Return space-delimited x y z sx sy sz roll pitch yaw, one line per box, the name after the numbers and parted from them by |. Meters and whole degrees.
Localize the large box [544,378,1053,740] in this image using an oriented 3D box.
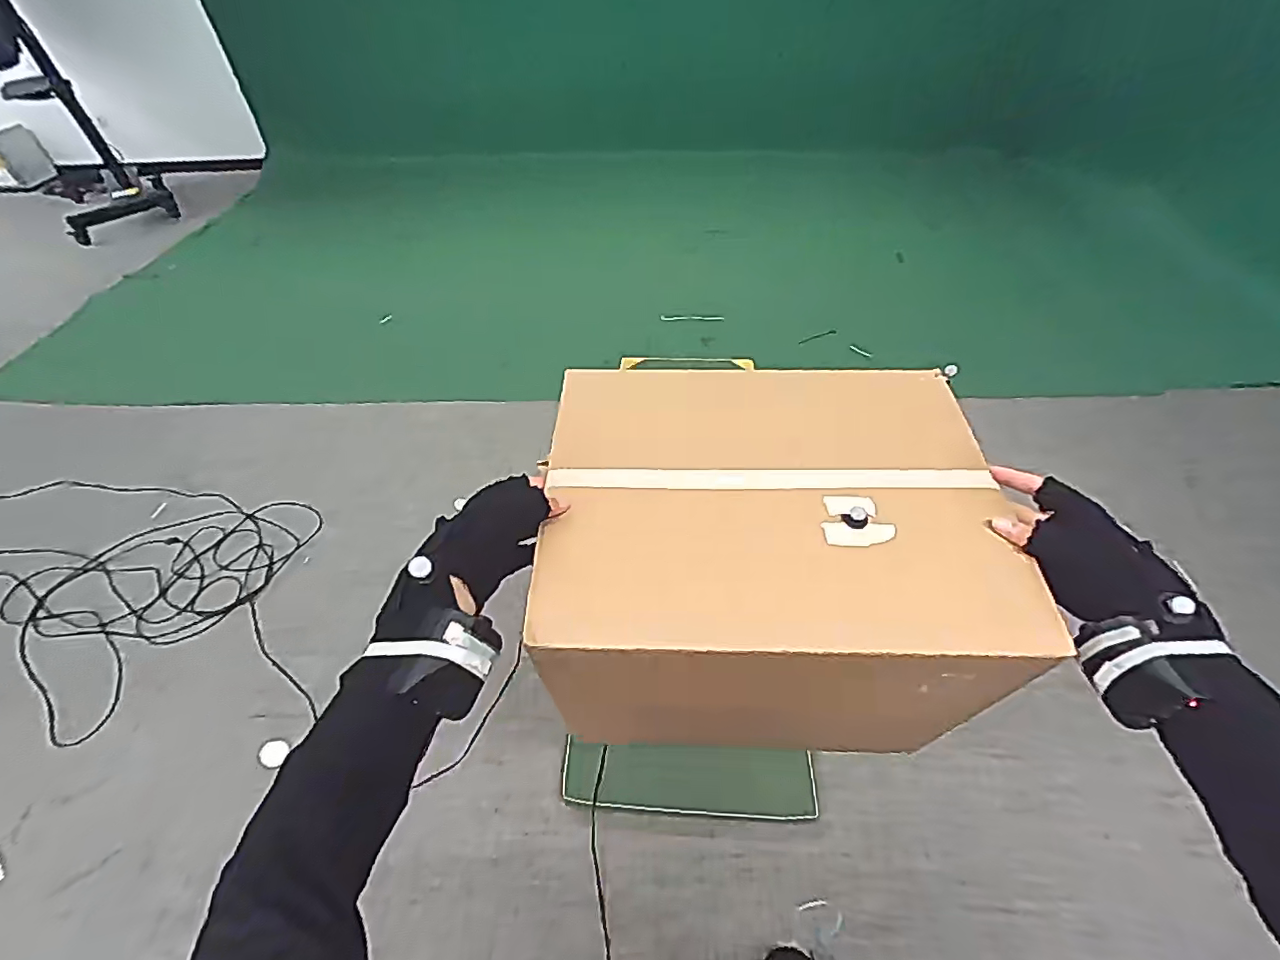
0.123 0.098 0.624 0.408 0.320 0.320 1 52 1 | large box
